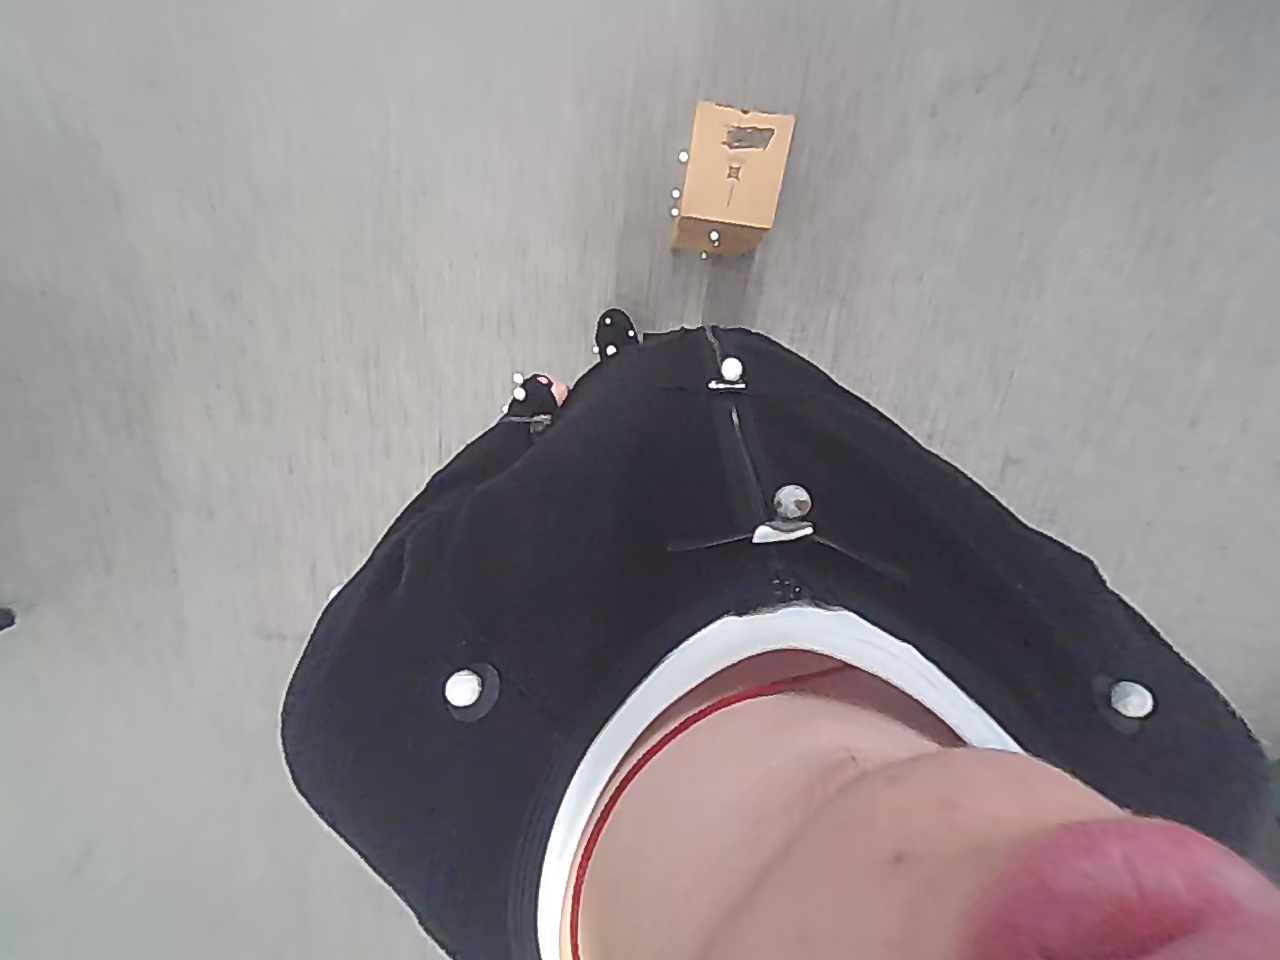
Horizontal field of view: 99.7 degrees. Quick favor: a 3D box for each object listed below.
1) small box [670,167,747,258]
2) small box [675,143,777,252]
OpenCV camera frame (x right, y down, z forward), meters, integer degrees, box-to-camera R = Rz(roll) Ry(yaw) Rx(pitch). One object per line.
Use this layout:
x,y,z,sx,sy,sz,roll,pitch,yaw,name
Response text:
0.175,-0.644,1.313,0.179,0.176,0.168,8,107,-2,small box
0.174,-0.594,1.158,0.179,0.176,0.168,7,107,-3,small box
